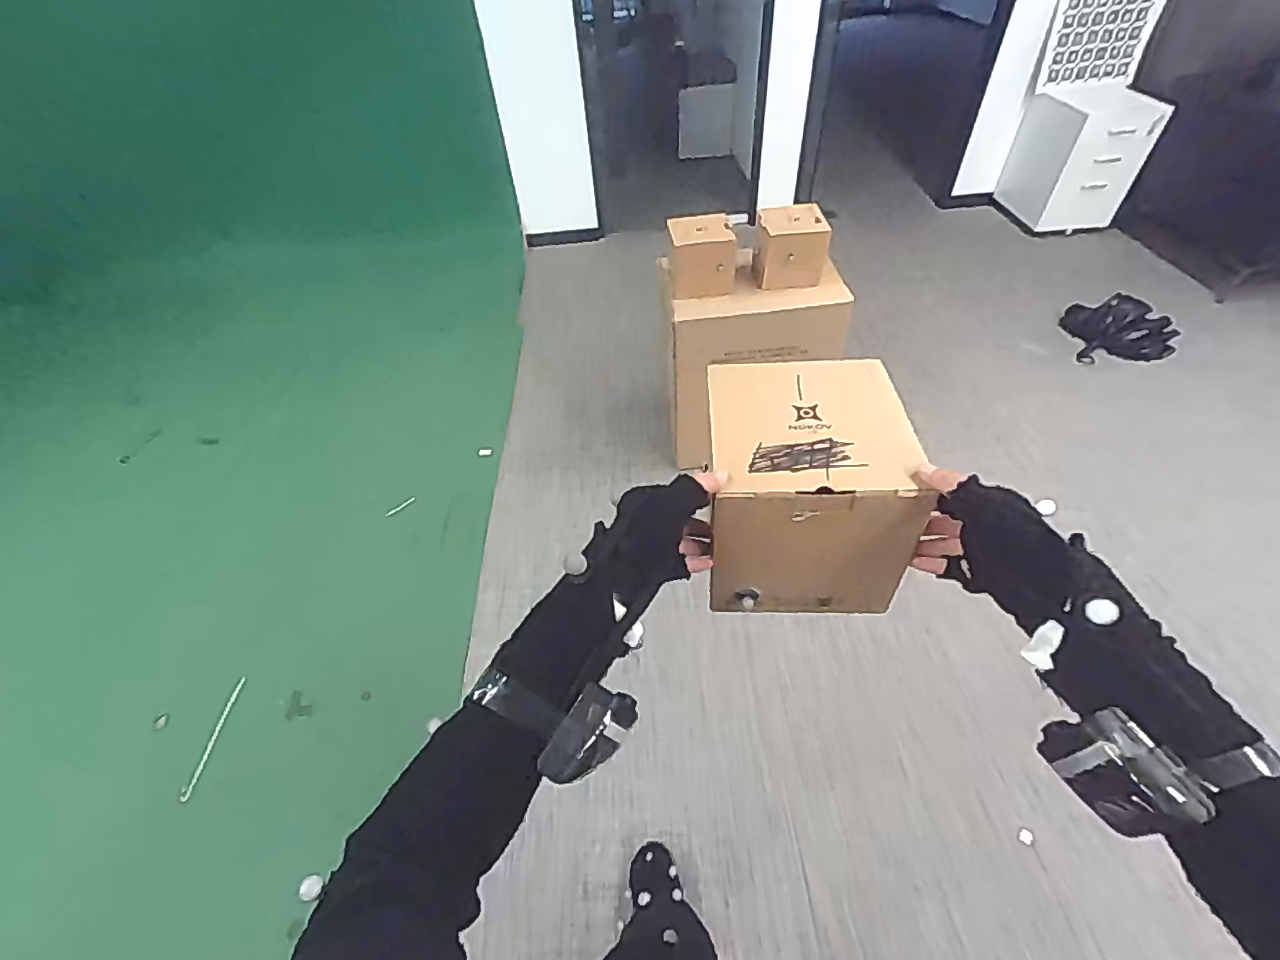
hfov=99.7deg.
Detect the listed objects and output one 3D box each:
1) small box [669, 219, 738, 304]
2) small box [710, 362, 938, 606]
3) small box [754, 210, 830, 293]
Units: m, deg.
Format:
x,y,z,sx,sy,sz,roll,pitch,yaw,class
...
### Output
x,y,z,sx,sy,sz,roll,pitch,yaw,class
0.182,-0.647,1.606,0.179,0.176,0.168,-8,50,-1,small box
0.154,0.006,0.523,0.168,0.176,0.179,0,44,5,small box
0.442,-0.676,1.609,0.179,0.176,0.168,-5,51,0,small box
